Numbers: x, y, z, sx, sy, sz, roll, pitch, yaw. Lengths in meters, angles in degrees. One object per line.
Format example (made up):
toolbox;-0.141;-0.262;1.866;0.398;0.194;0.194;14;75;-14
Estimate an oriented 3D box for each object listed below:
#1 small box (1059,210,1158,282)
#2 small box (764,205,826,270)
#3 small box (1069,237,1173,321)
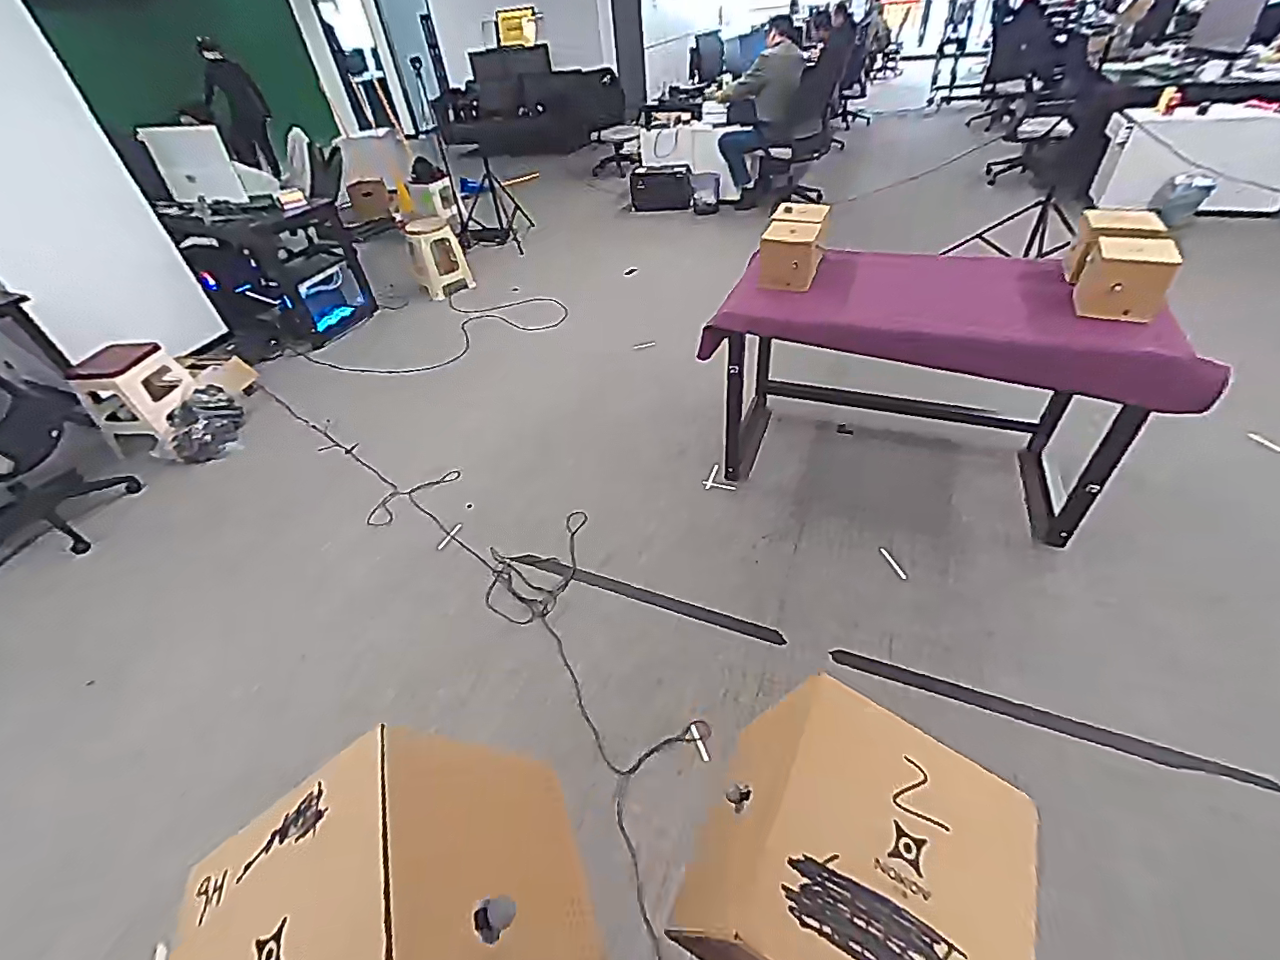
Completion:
small box;1.411;-0.707;1.647;0.179;0.176;0.168;13;46;20
small box;0.555;-0.875;1.948;0.179;0.176;0.168;15;48;20
small box;1.326;-0.559;1.503;0.168;0.176;0.179;15;45;24
